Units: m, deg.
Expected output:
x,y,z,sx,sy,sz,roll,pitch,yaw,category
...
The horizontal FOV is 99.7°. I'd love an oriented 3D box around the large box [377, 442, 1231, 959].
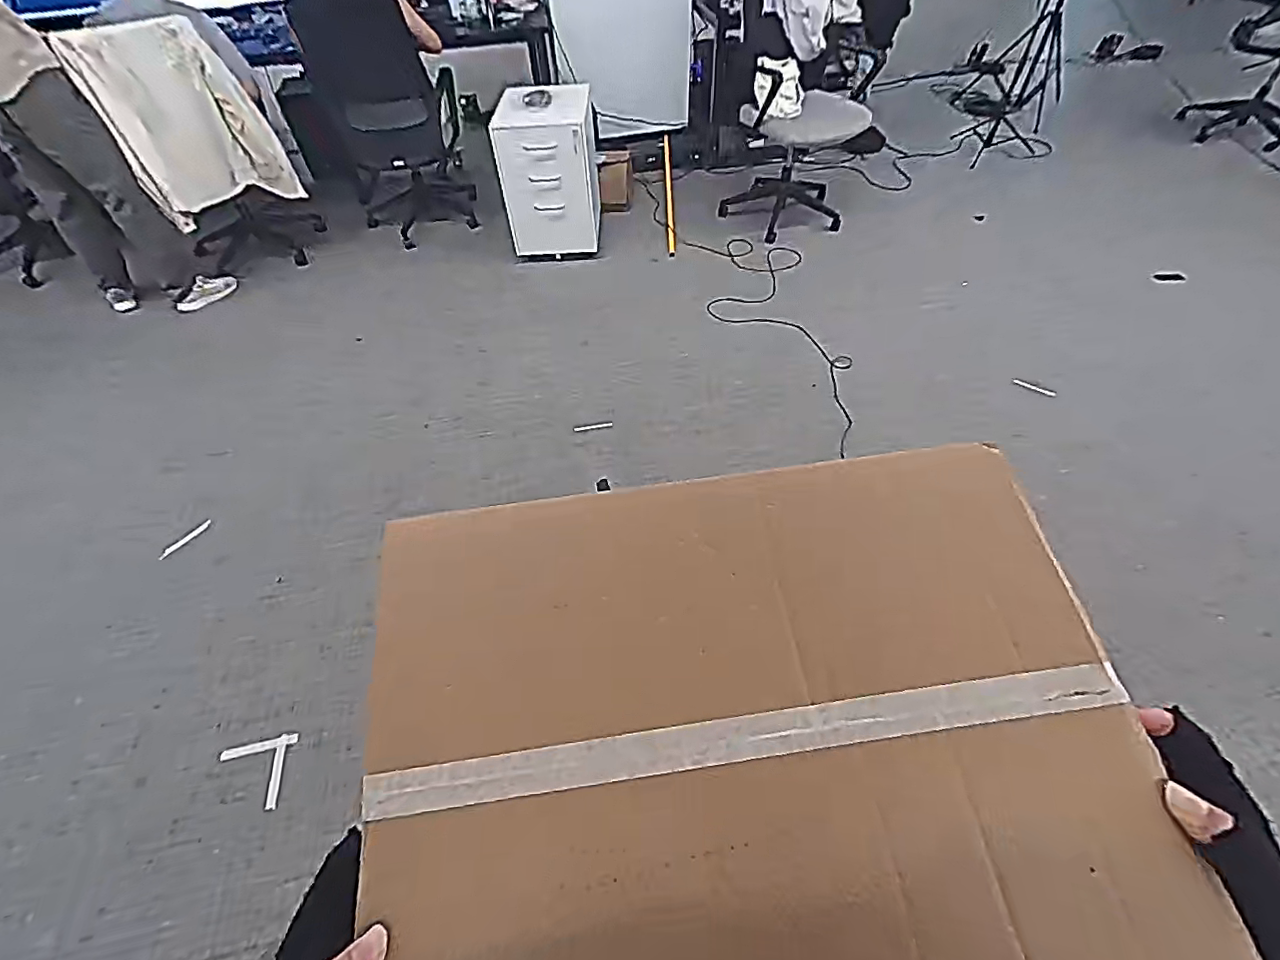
x,y,z,sx,sy,sz,roll,pitch,yaw,category
0.062,0.204,0.434,0.408,0.320,0.320,-8,64,-2,large box
